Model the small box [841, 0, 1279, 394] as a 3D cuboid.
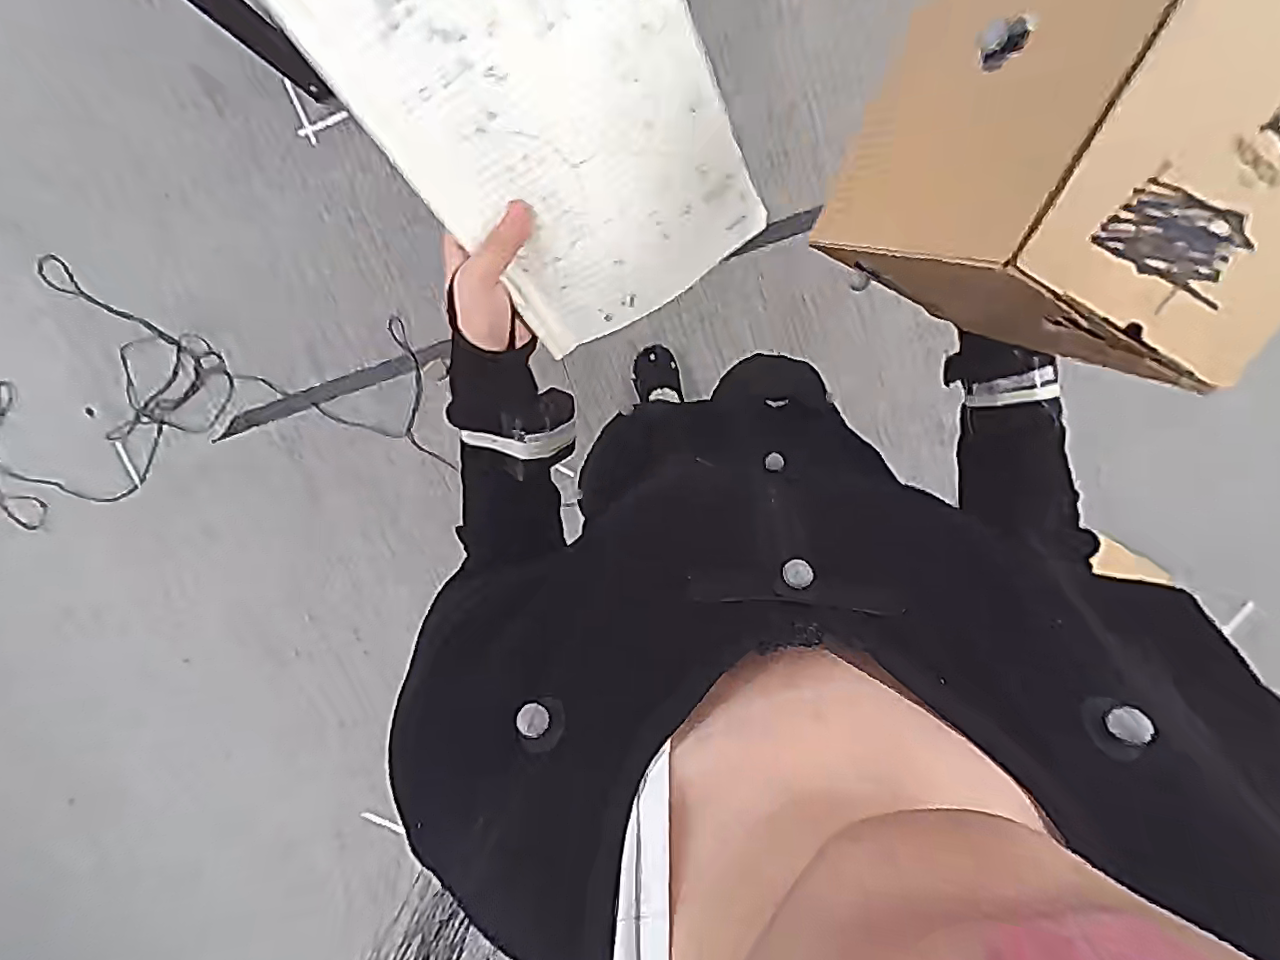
[{"bbox_3d":[0.239,-0.174,0.288,0.168,0.176,0.179,17,111,-21],"label":"small box"}]
